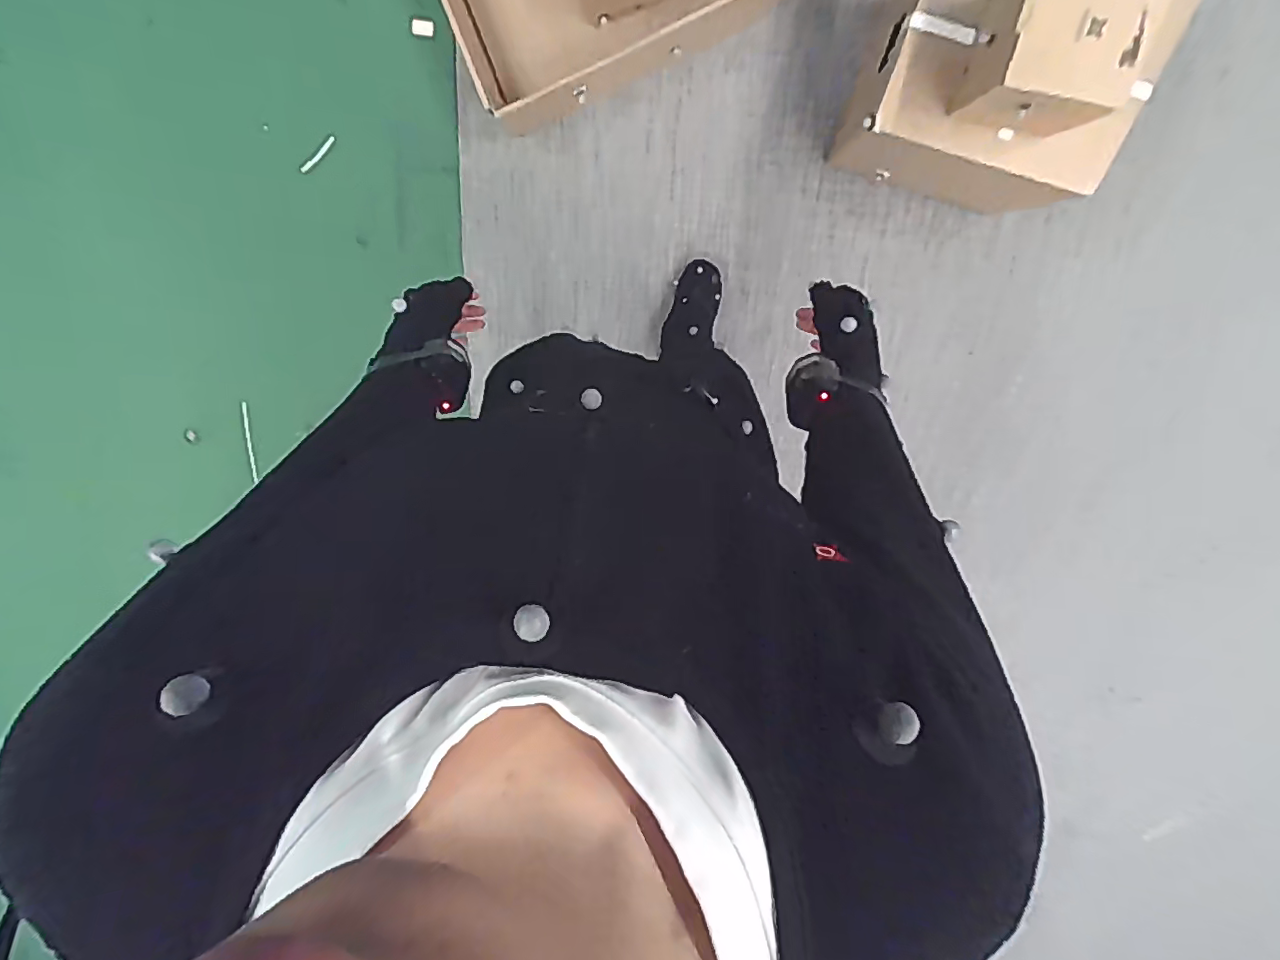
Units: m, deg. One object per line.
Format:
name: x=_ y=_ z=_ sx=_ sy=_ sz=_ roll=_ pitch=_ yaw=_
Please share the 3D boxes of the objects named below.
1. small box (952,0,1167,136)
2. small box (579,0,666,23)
small box: x=0.600 y=-0.628 z=0.792 sx=0.179 sy=0.176 sz=0.168 roll=12 pitch=111 yaw=2
small box: x=-0.049 y=-0.994 z=1.001 sx=0.168 sy=0.176 sz=0.179 roll=-10 pitch=107 yaw=10
